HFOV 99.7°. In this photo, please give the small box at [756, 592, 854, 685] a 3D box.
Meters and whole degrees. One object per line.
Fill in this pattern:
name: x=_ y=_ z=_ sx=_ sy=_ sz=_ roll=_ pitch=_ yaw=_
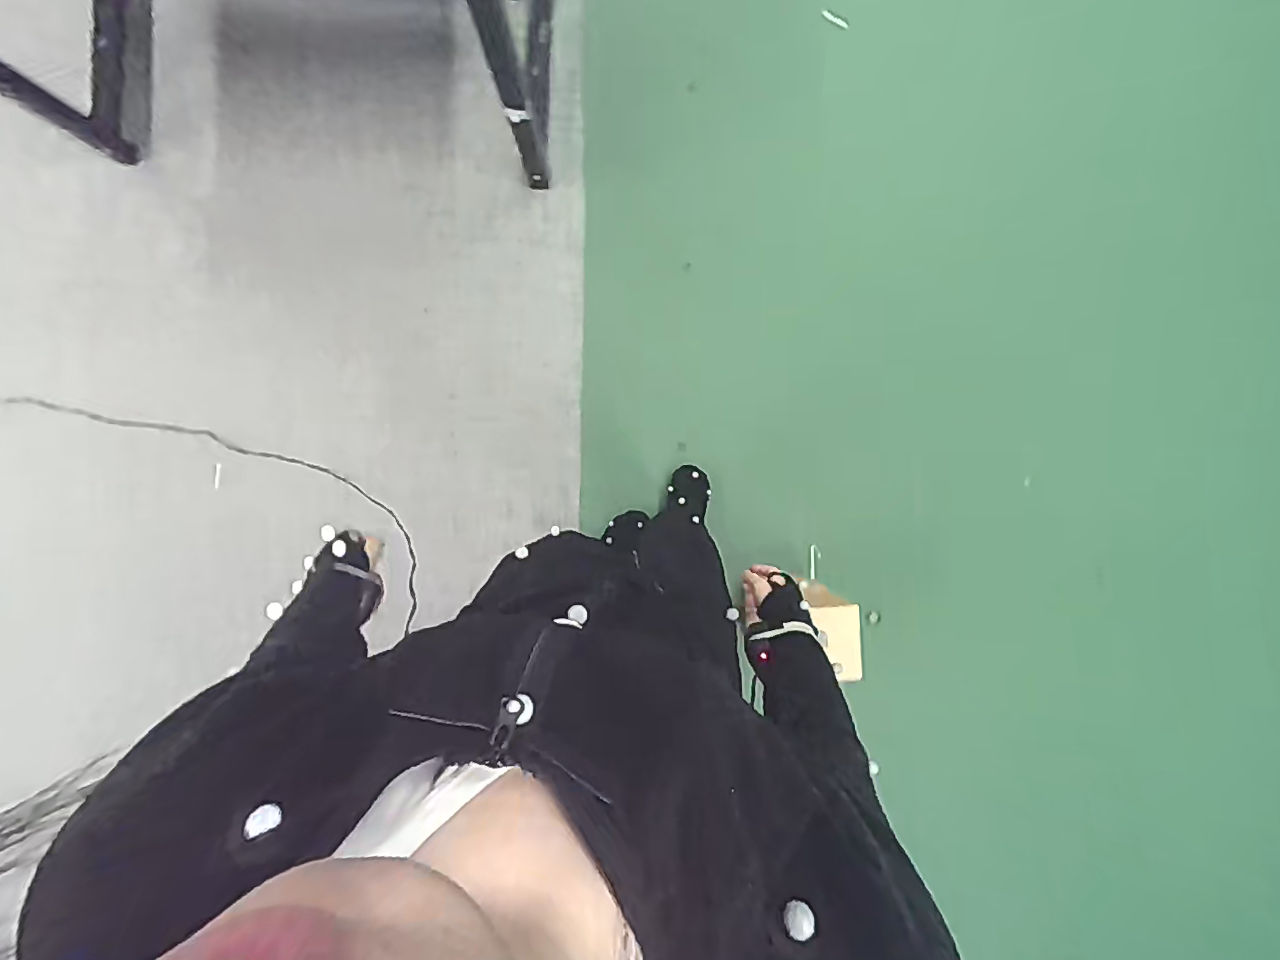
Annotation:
small box: x=0.383 y=0.364 z=1.272 sx=0.179 sy=0.176 sz=0.168 roll=-3 pitch=91 yaw=-2
